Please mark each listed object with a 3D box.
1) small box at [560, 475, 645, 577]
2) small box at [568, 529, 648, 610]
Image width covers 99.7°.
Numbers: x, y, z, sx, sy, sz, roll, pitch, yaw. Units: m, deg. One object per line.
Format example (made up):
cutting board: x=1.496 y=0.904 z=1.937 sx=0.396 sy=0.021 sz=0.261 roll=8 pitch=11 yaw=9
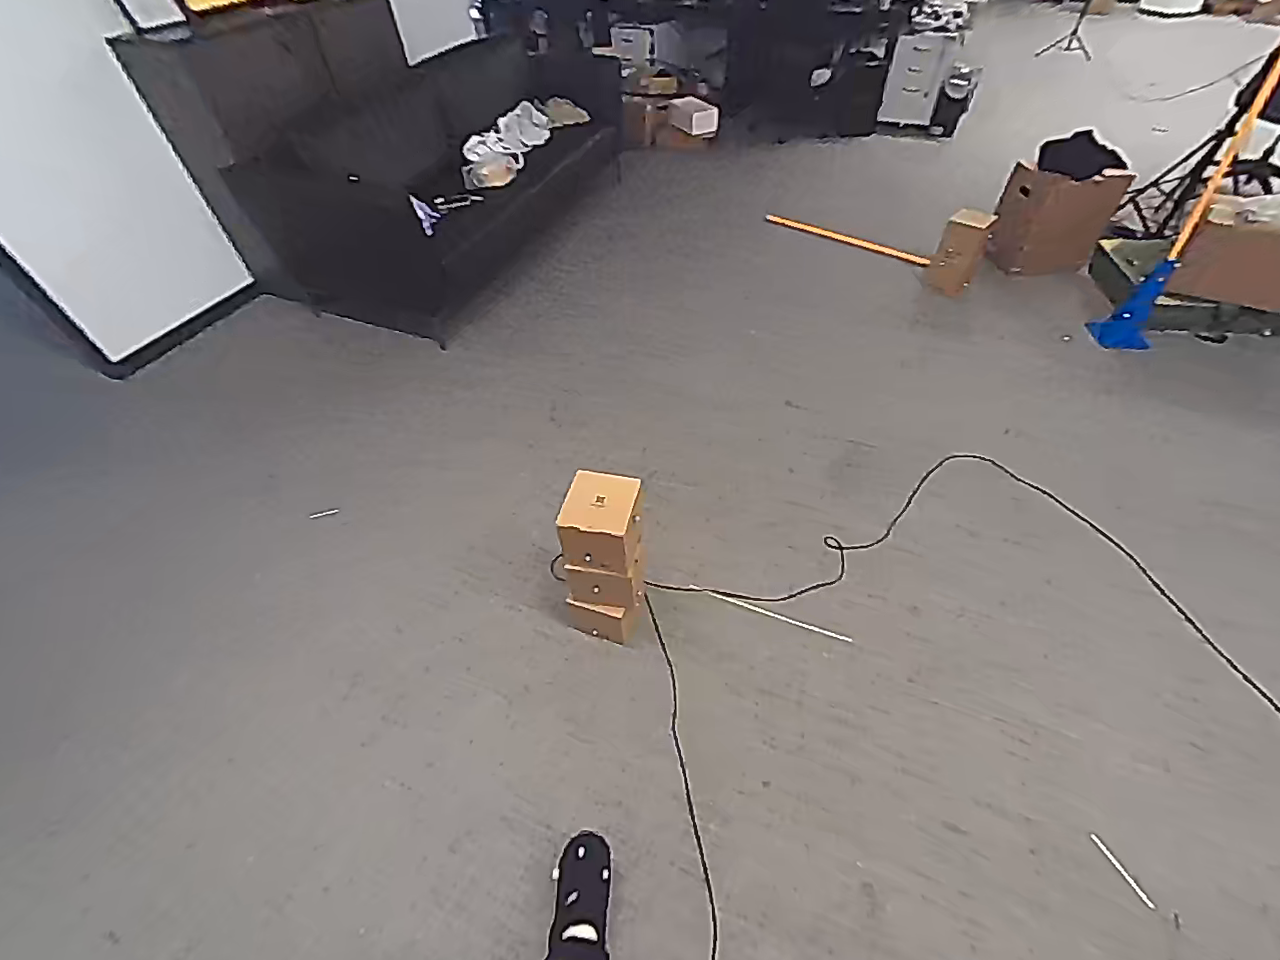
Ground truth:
small box: x=-0.085 y=0.115 z=1.348 sx=0.168 sy=0.176 sz=0.179 roll=7 pitch=50 yaw=11
small box: x=-0.078 y=0.235 z=1.460 sx=0.179 sy=0.176 sz=0.168 roll=4 pitch=49 yaw=10
